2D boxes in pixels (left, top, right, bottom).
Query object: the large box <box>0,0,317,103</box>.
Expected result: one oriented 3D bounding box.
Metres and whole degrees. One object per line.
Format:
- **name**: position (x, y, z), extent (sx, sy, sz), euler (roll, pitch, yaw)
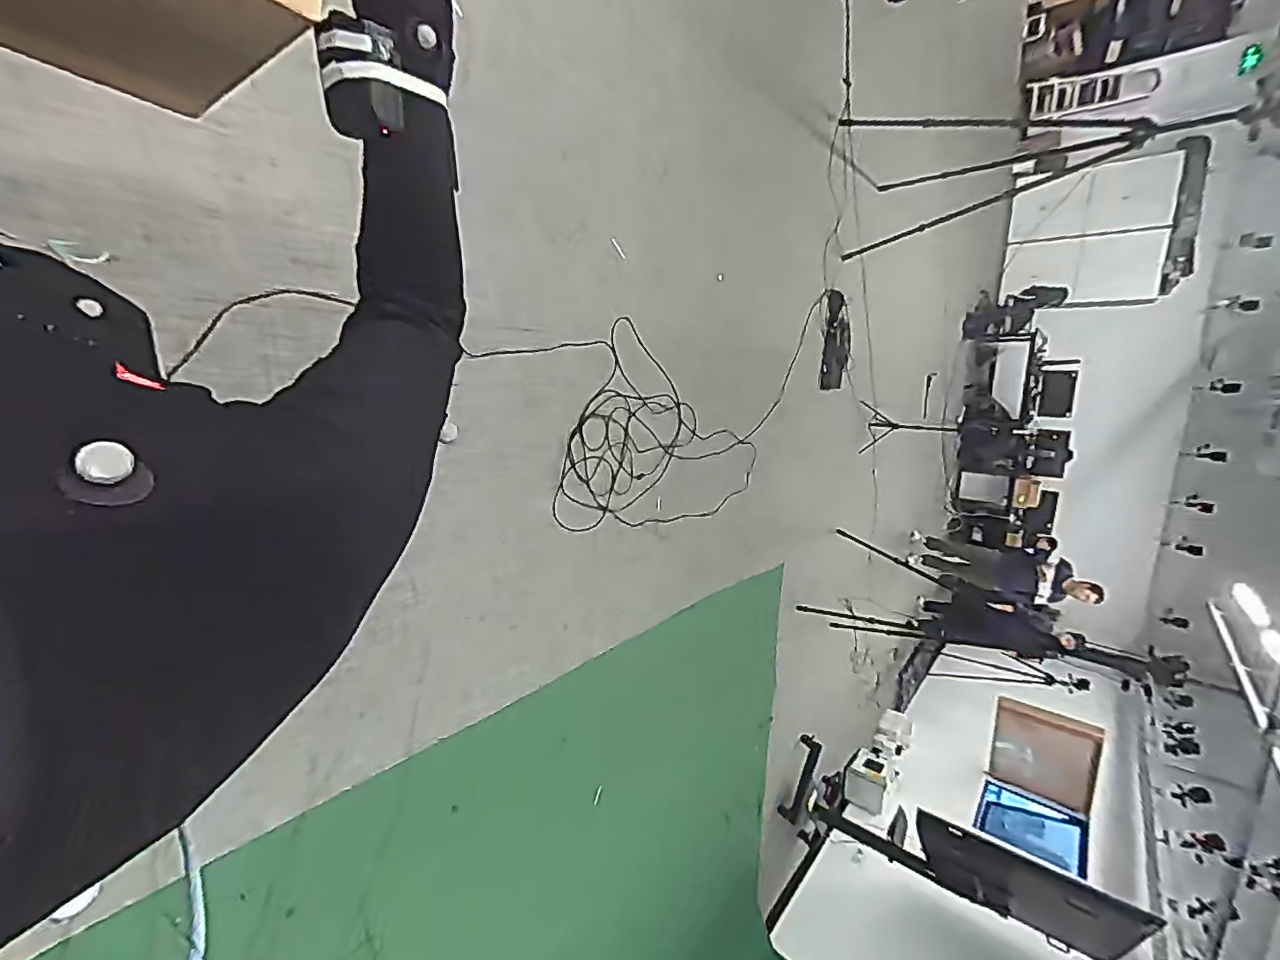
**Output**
- **large box**: position (-0.430, -0.472, 0.265), extent (0.408, 0.320, 0.320), euler (-4, 107, -50)
